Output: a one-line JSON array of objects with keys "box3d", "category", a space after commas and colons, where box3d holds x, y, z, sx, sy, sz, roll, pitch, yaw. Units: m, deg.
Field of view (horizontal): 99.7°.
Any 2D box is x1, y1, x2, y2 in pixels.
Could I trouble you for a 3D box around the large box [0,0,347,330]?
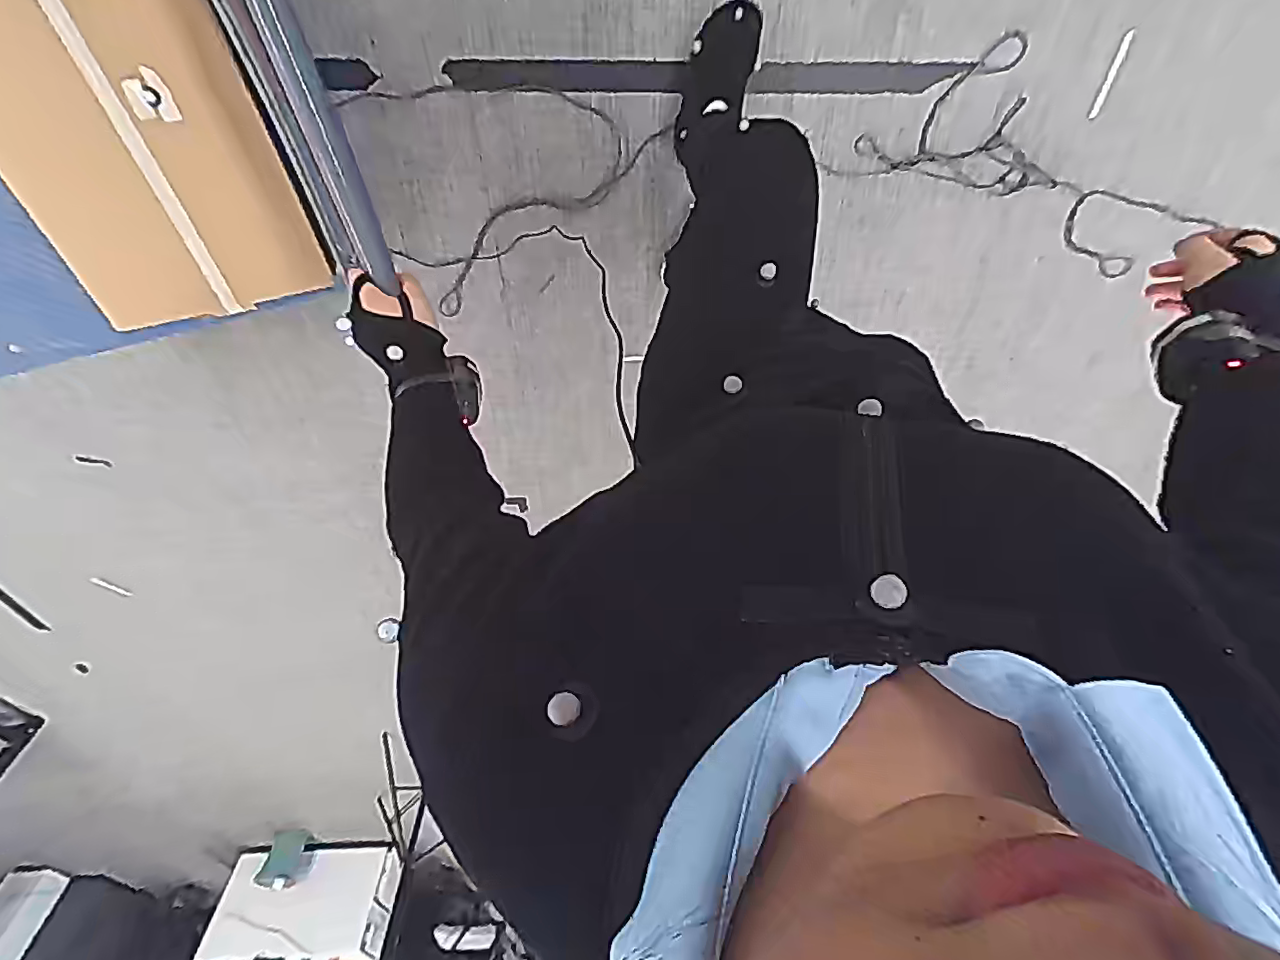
[{"box3d": [-0.707, -0.507, 0.842, 0.320, 0.320, 0.408, -20, 130, -14], "category": "large box"}]
